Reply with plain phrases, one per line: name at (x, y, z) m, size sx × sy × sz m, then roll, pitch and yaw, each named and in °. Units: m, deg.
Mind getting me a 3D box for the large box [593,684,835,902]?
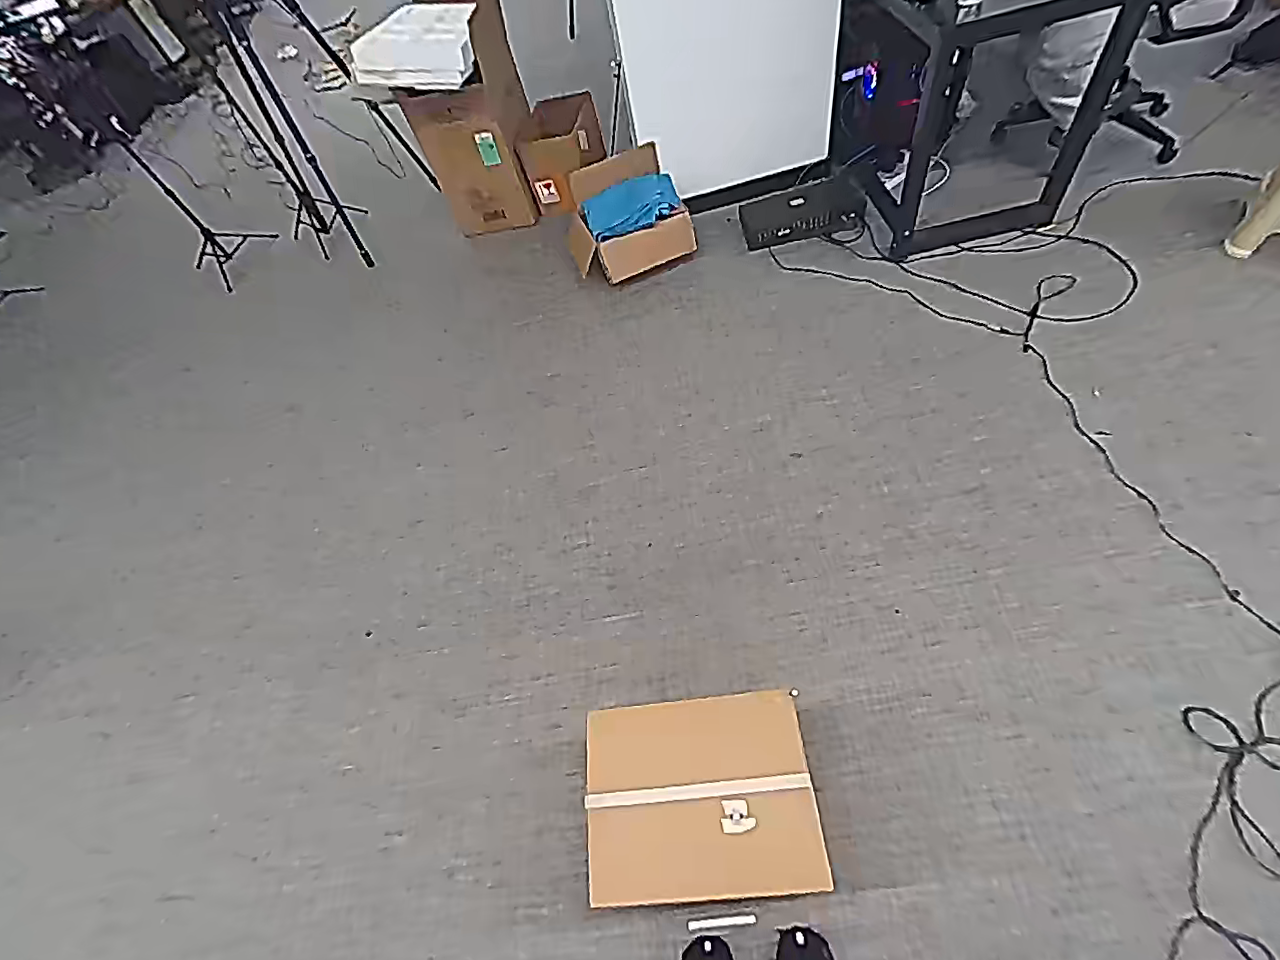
large box at (0.138, 0.634, 1.097) m, size 0.408 × 0.320 × 0.320 m, roll -9°, pitch 56°, yaw 6°
